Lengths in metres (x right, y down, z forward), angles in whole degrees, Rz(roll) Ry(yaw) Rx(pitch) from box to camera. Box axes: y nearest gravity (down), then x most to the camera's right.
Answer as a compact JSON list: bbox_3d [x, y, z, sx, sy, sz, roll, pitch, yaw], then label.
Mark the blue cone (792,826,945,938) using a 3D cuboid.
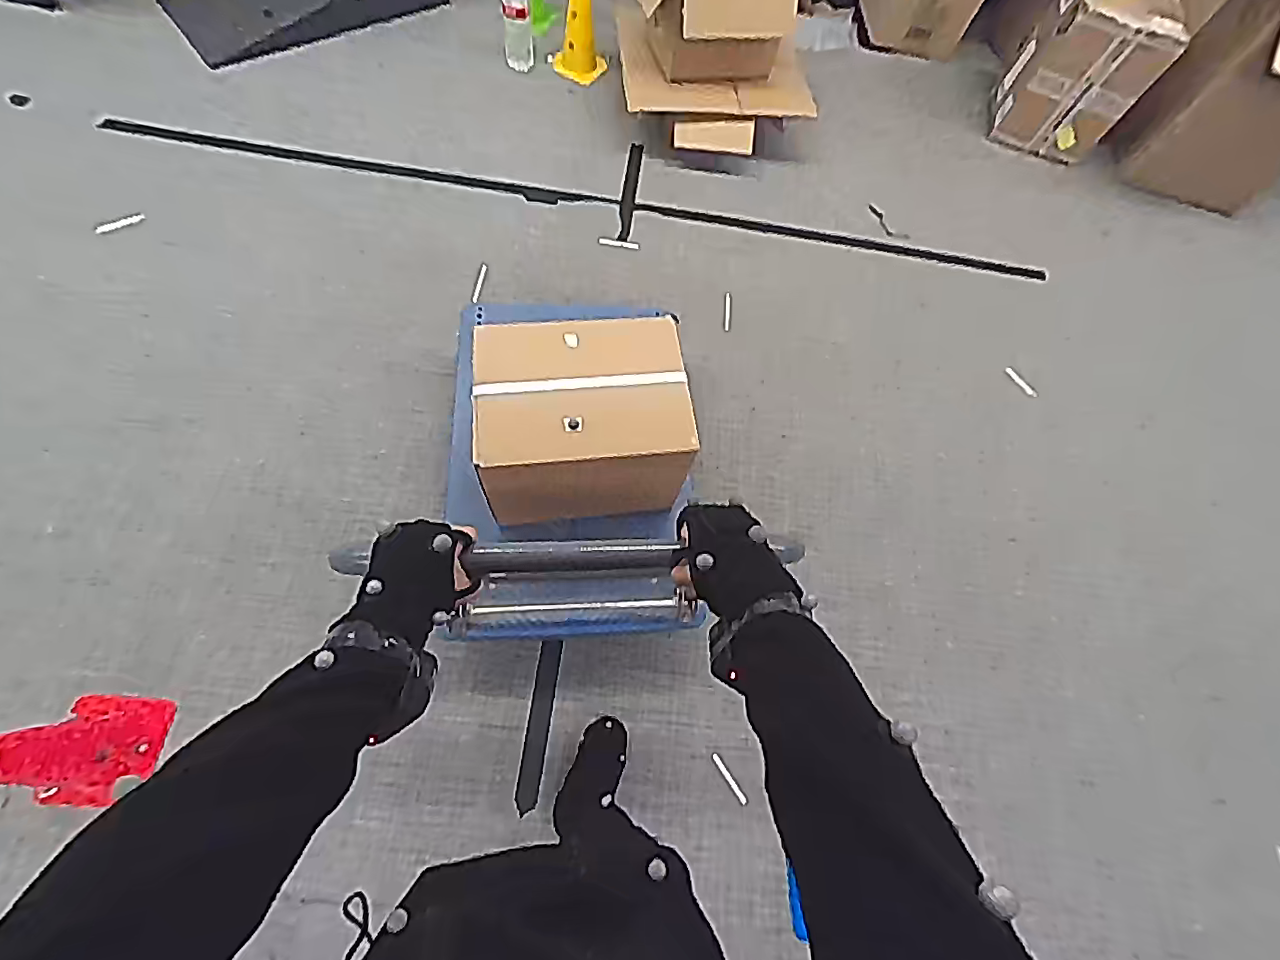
[{"bbox_3d":[0.447,0.792,1.020,0.193,0.380,0.192,4,65,-6],"label":"blue cone"}]
